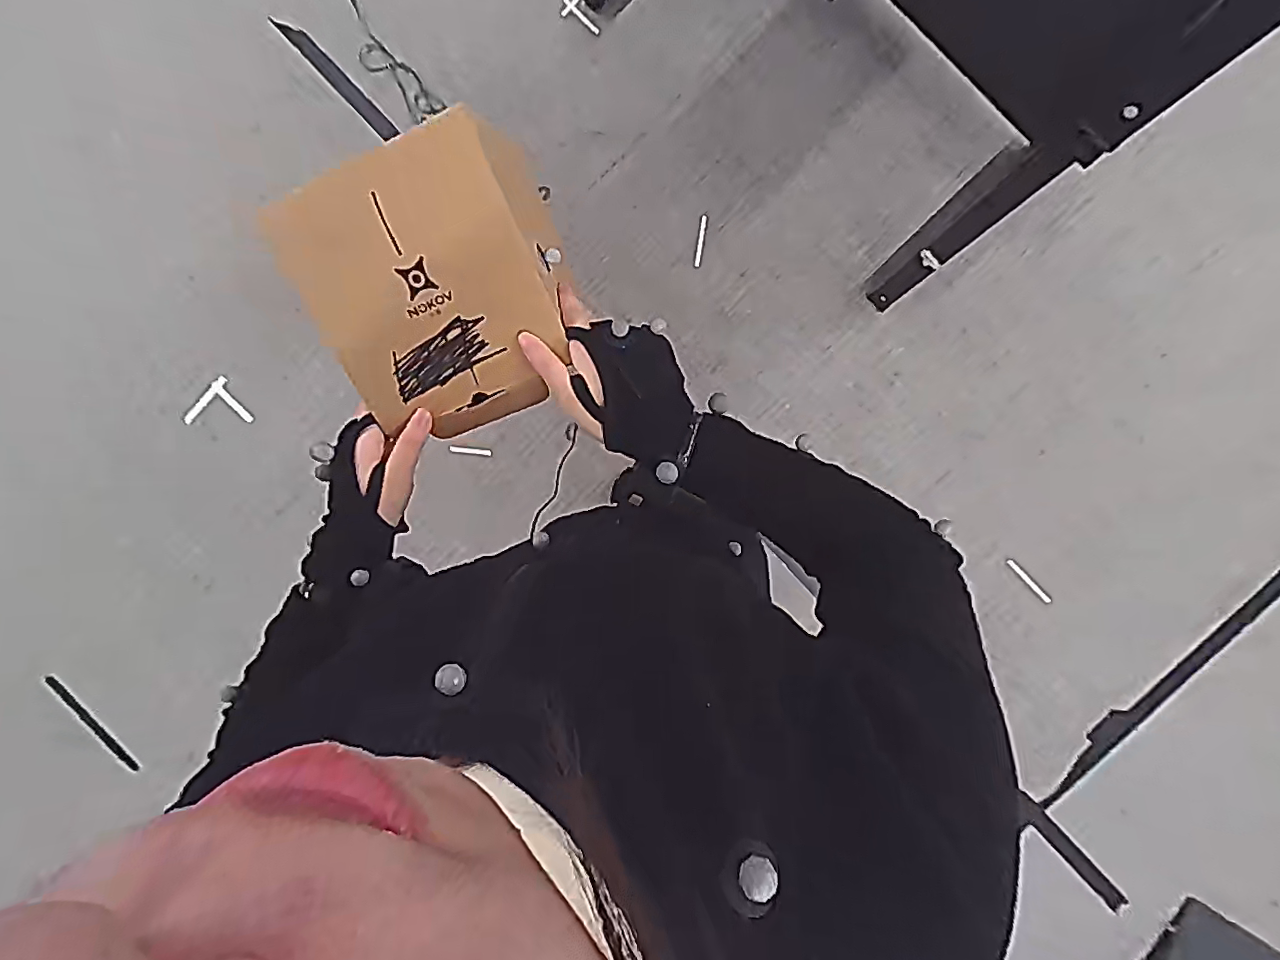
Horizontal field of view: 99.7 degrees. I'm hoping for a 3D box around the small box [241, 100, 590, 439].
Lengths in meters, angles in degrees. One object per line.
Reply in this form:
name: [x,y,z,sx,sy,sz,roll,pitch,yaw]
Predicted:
small box: [-0.152,-0.162,0.442,0.168,0.176,0.179,-21,111,10]
